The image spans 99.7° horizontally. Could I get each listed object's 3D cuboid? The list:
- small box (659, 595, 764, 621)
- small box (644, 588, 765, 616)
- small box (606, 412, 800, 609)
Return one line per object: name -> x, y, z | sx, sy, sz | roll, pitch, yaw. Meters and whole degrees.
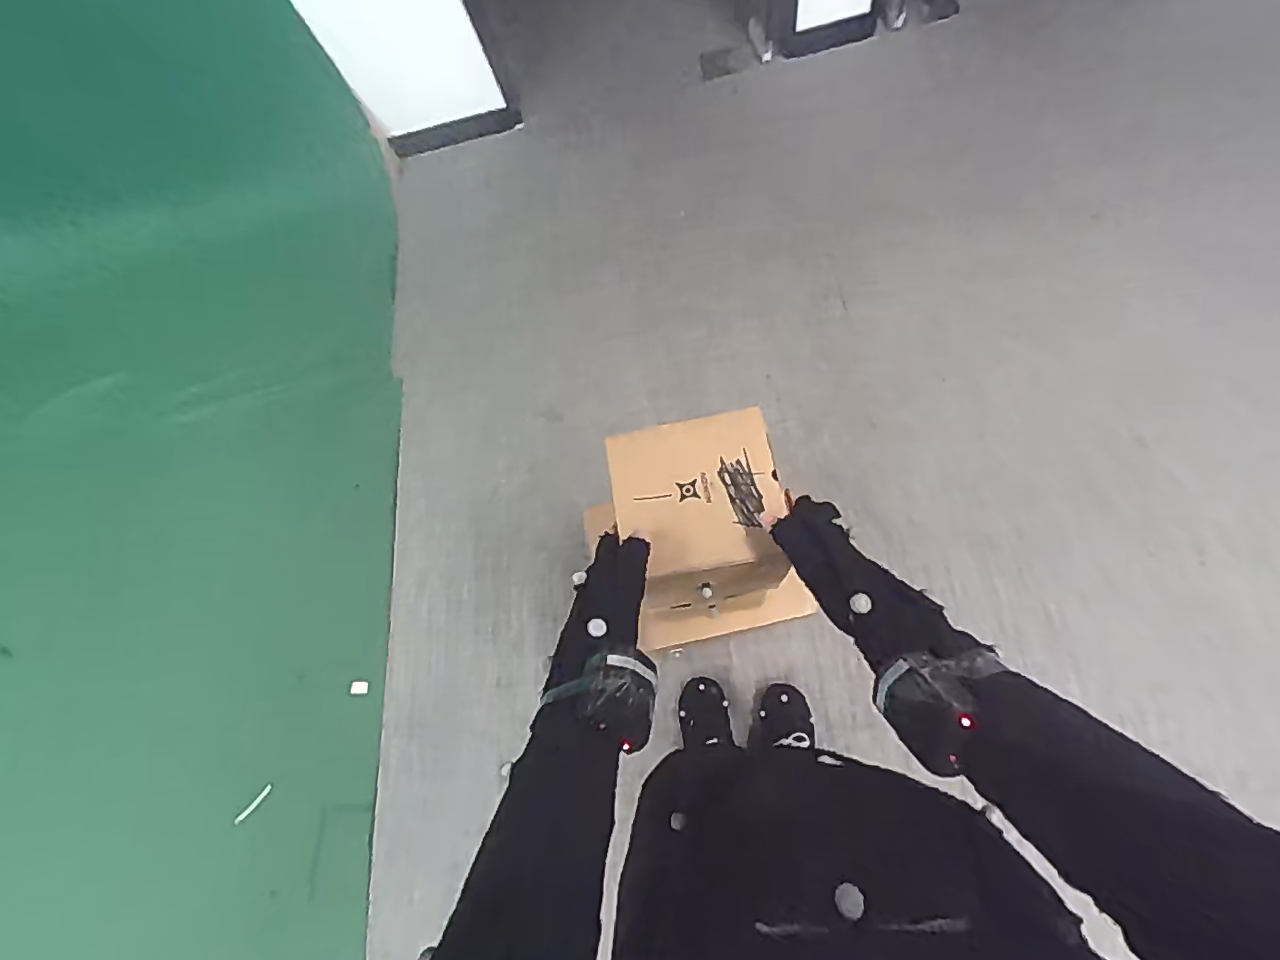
small box -> 0.117, 0.155, 0.966 | 0.179, 0.176, 0.168 | -11, 72, 6
small box -> 0.088, 0.104, 0.813 | 0.168, 0.176, 0.179 | -12, 72, 7
small box -> 0.067, 0.045, 0.627 | 0.179, 0.176, 0.168 | -11, 66, 3
